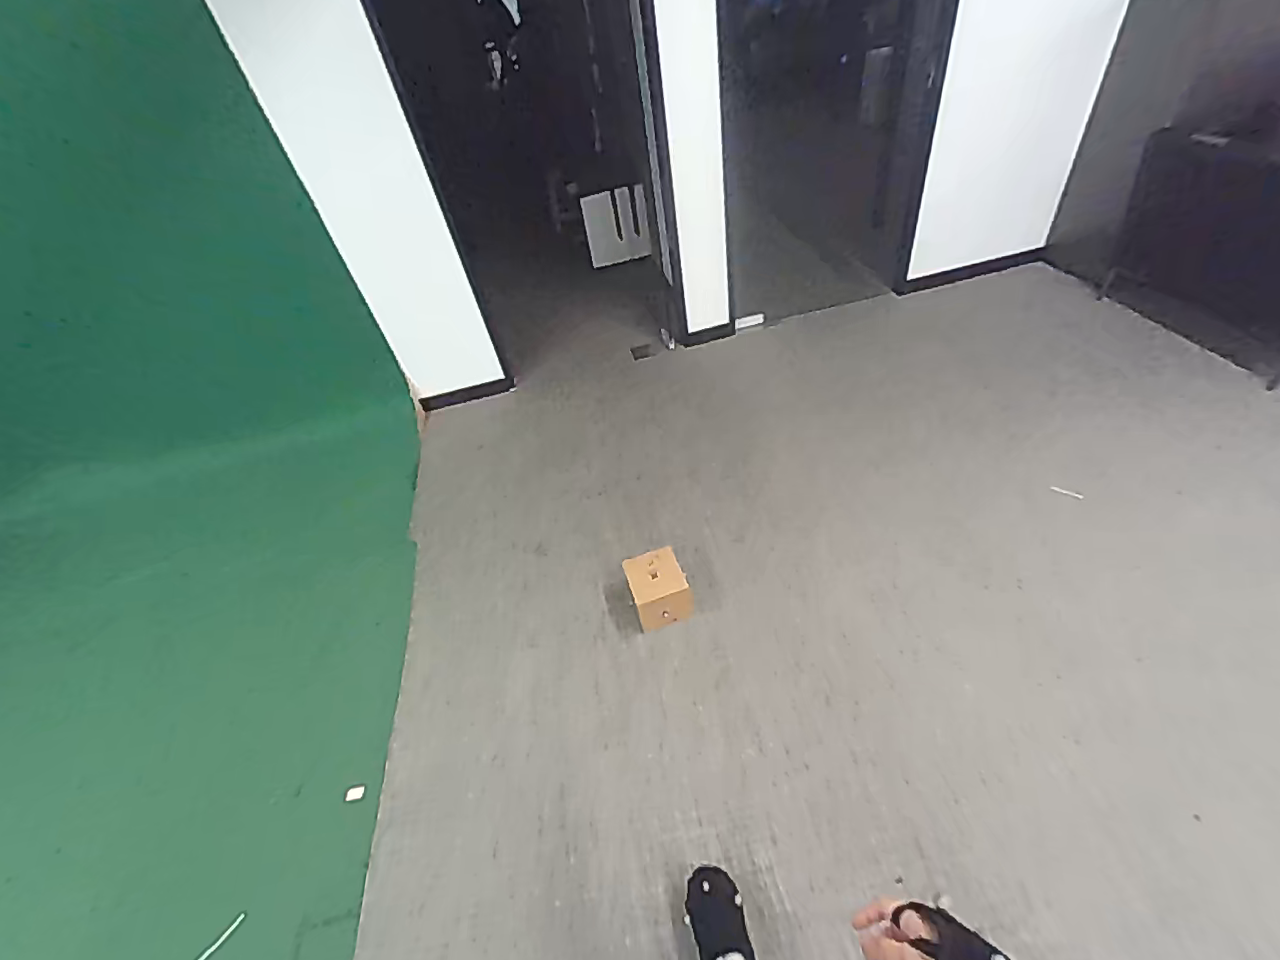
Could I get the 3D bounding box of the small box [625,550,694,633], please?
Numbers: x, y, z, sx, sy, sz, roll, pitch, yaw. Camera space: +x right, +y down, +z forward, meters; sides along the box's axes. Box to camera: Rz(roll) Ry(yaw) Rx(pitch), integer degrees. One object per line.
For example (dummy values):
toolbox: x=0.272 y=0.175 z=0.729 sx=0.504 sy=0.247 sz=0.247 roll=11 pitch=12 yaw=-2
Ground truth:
small box: x=0.064 y=0.357 z=1.700 sx=0.168 sy=0.176 sz=0.179 roll=-18 pitch=44 yaw=-6
